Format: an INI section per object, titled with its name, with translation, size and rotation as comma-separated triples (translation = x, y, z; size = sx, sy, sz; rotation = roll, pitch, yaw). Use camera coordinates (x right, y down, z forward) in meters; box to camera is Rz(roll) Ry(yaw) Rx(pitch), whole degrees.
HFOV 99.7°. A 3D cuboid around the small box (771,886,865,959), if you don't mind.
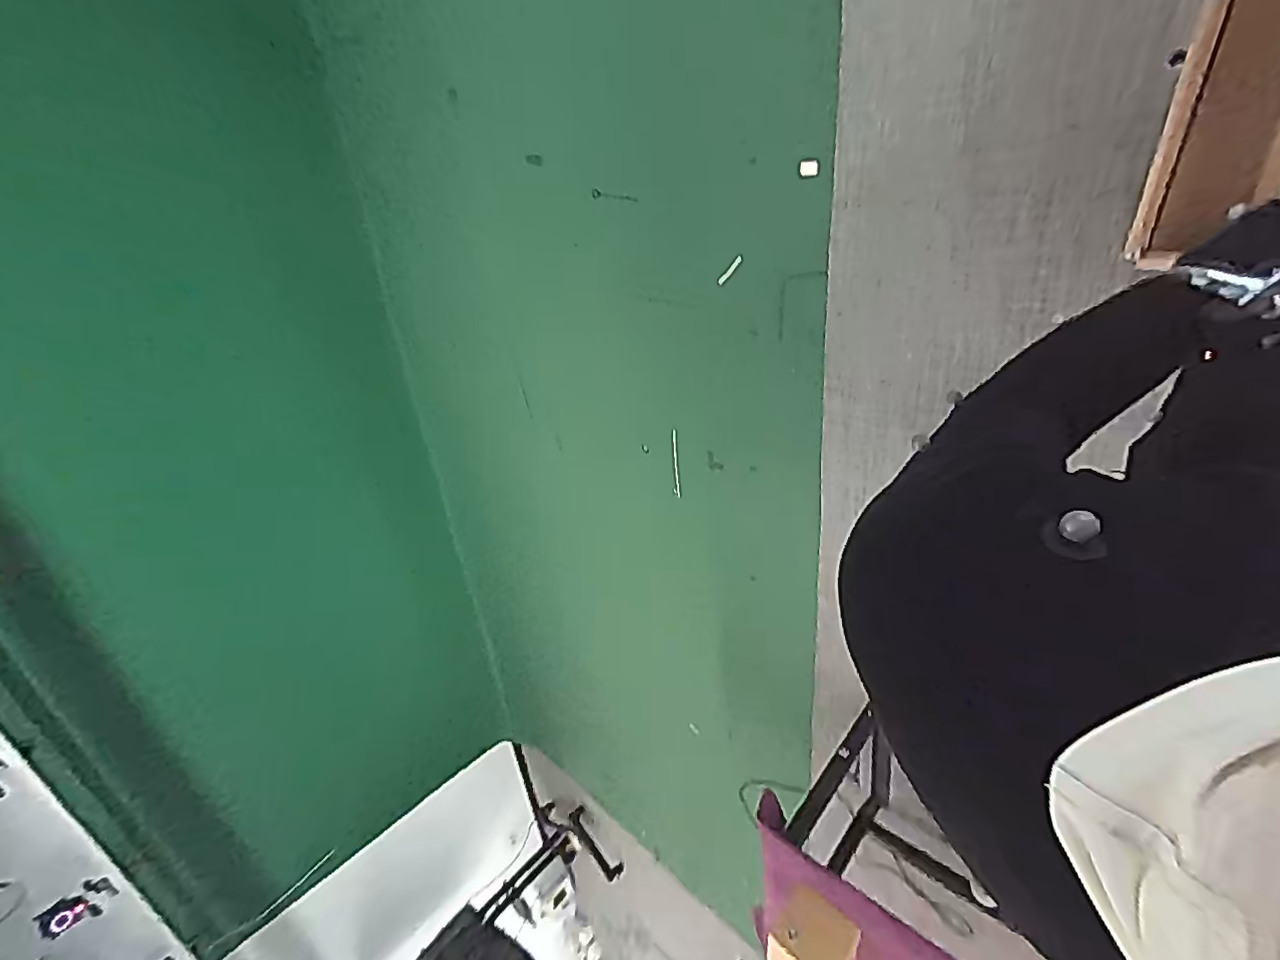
[small box]
translation = 0.469, 1.230, 1.435
size = 0.179, 0.176, 0.168
rotation = 21, 128, 39
